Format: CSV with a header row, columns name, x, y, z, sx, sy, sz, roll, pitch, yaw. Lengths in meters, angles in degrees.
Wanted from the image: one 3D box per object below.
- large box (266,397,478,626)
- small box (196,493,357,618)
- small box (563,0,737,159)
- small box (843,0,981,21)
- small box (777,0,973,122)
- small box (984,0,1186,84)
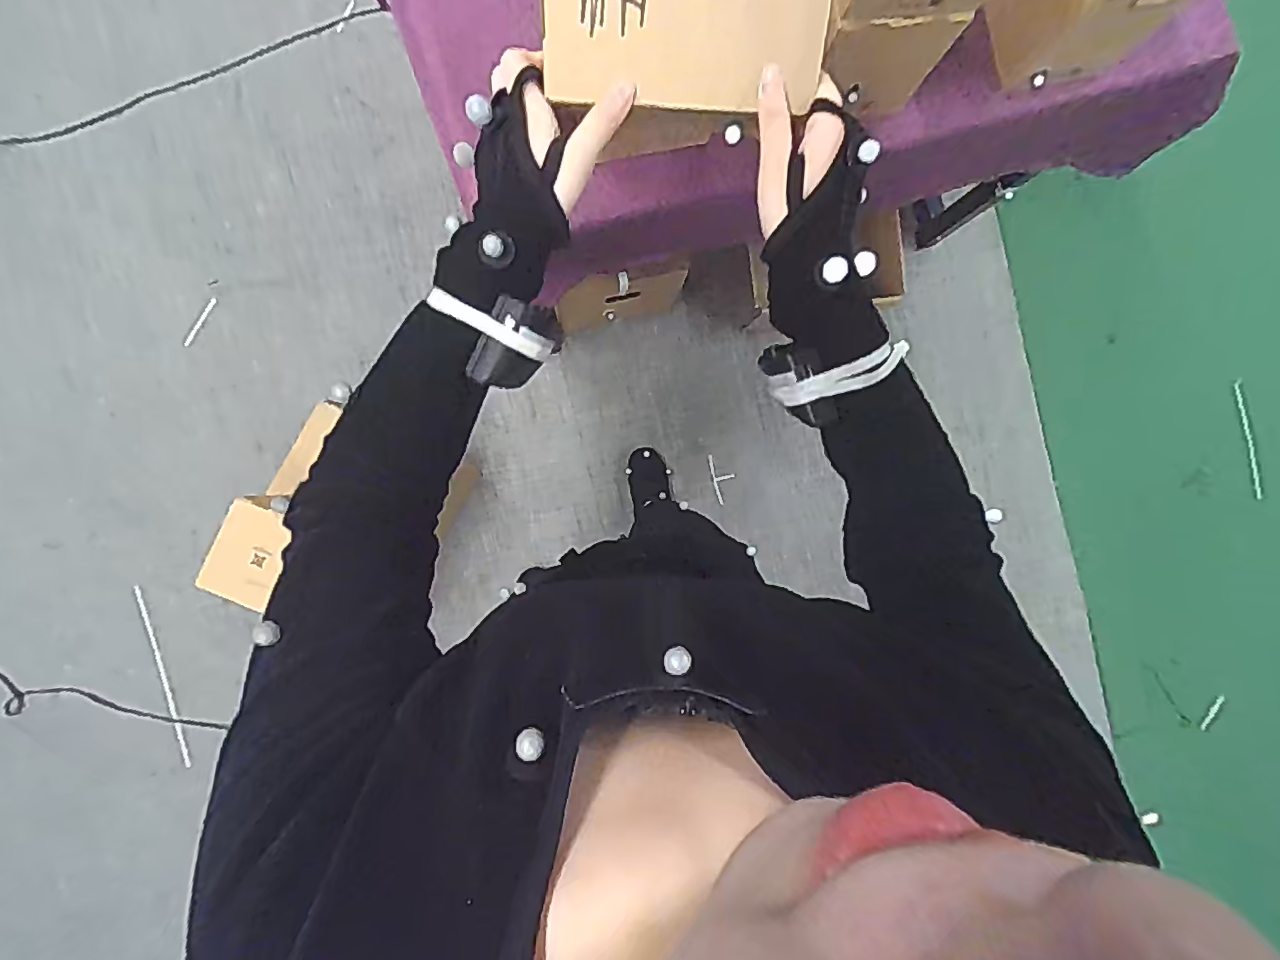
name,x,y,z,sx,sy,sz,roll,pitch,yaw
large box,-0.642,0.070,1.288,0.320,0.320,0.408,29,87,-5
small box,-0.679,0.134,1.037,0.168,0.176,0.179,25,88,-3
small box,0.003,-0.535,0.676,0.179,0.176,0.168,-13,92,-4
small box,0.305,-0.615,0.538,0.168,0.176,0.179,-7,91,-4
small box,0.290,-0.609,0.703,0.168,0.176,0.179,-8,92,-5
small box,0.604,-0.673,0.727,0.168,0.176,0.179,-13,91,-5
